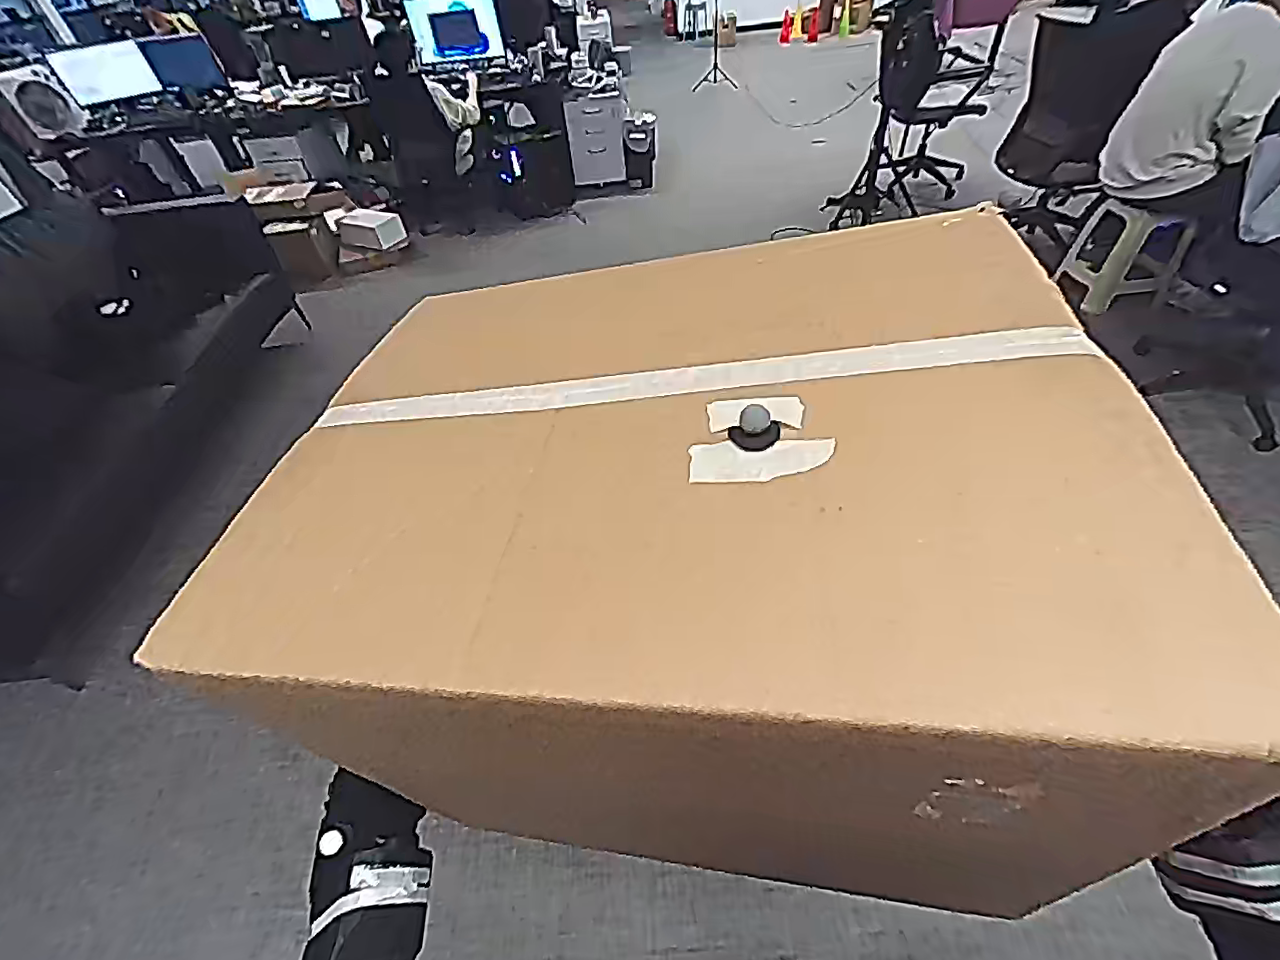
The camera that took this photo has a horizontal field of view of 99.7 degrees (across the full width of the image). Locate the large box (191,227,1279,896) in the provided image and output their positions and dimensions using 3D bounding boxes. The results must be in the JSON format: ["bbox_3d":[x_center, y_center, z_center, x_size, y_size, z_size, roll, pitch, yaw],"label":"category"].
[{"bbox_3d":[0.038,0.061,0.396,0.408,0.320,0.320,-2,47,17],"label":"large box"}]
